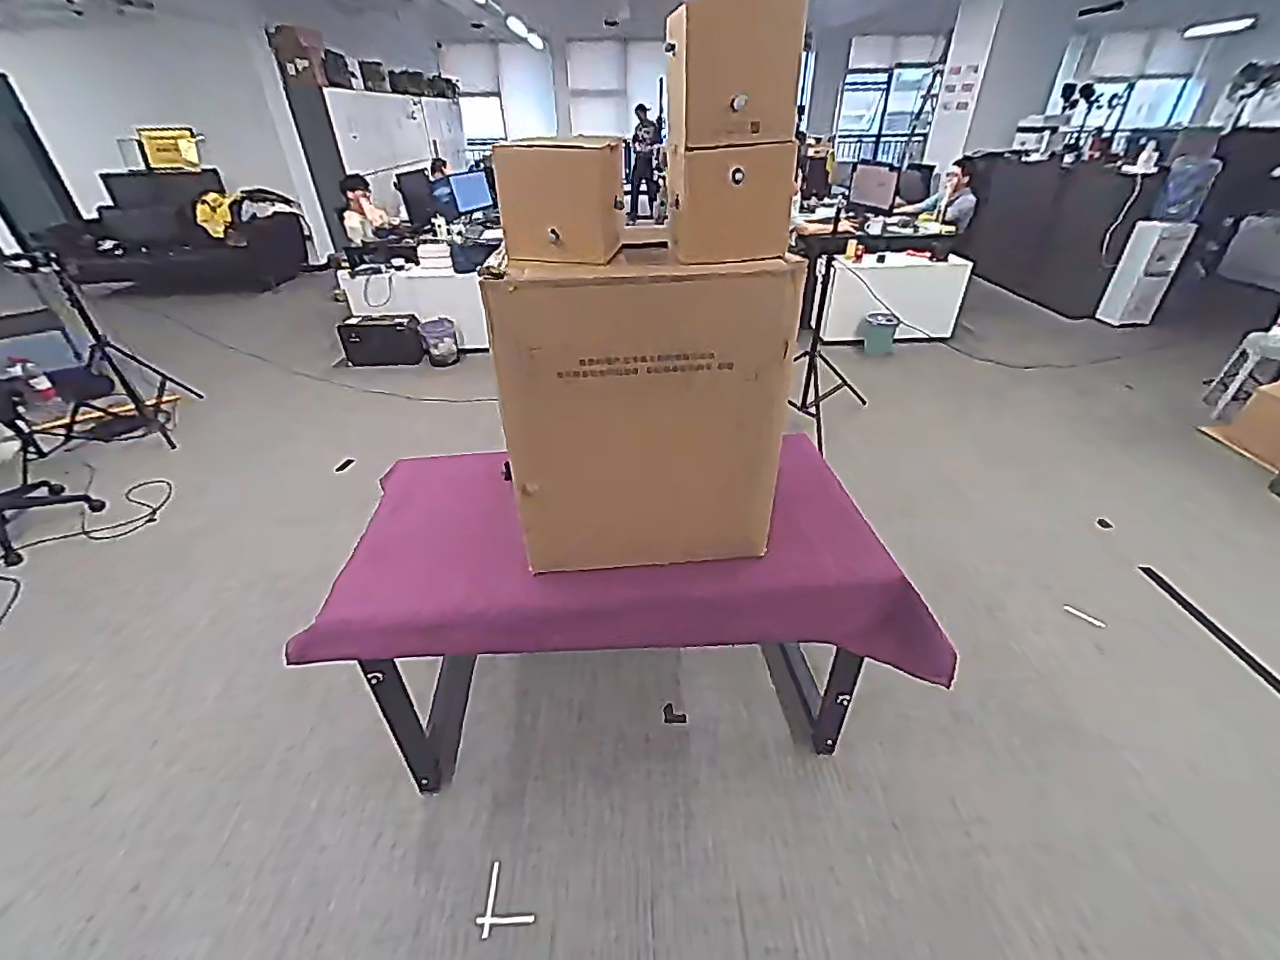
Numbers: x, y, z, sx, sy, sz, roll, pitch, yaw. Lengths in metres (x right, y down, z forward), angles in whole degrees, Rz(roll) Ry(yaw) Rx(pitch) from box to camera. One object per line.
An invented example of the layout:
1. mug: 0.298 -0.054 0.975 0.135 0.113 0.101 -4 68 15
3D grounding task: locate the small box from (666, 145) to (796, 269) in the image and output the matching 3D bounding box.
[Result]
1. small box: 0.144 -0.460 0.906 0.179 0.176 0.168 -6 35 -4

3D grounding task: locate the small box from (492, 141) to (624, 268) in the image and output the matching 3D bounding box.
1. small box: -0.126 -0.467 0.918 0.179 0.176 0.168 6 36 8

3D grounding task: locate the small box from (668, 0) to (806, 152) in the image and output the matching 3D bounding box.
1. small box: 0.133 -0.598 0.816 0.168 0.176 0.179 -6 35 -3
